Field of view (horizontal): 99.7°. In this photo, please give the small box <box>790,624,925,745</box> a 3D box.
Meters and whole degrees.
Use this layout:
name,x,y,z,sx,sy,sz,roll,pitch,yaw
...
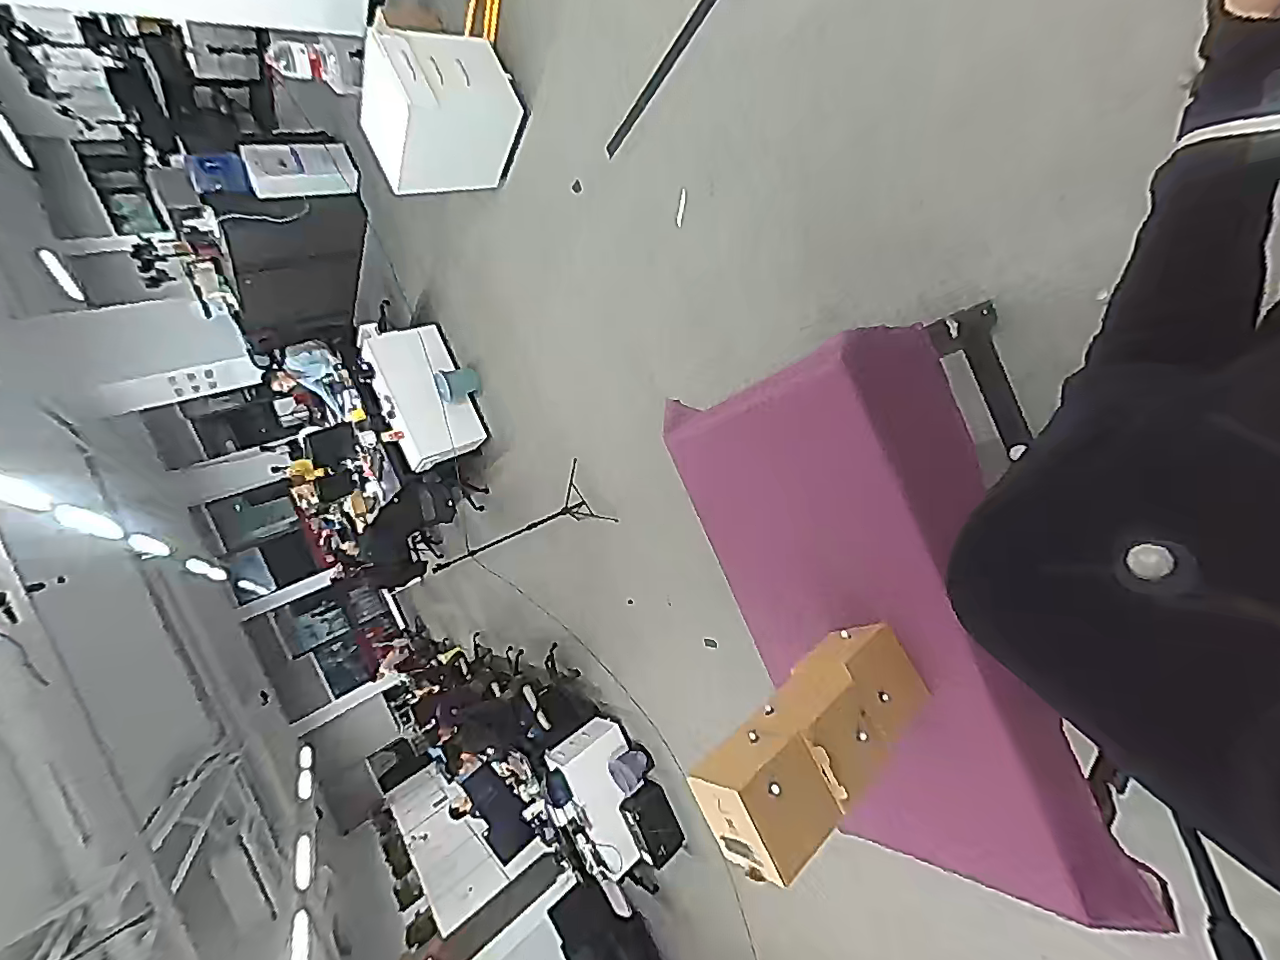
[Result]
name,x,y,z,sx,sy,sz,roll,pitch,yaw
small box,0.467,0.434,1.158,0.179,0.176,0.168,61,146,7

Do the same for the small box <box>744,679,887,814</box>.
name,x,y,z,sx,sy,sz,roll,pitch,yaw
small box,0.348,0.514,1.074,0.179,0.176,0.168,-31,86,57
